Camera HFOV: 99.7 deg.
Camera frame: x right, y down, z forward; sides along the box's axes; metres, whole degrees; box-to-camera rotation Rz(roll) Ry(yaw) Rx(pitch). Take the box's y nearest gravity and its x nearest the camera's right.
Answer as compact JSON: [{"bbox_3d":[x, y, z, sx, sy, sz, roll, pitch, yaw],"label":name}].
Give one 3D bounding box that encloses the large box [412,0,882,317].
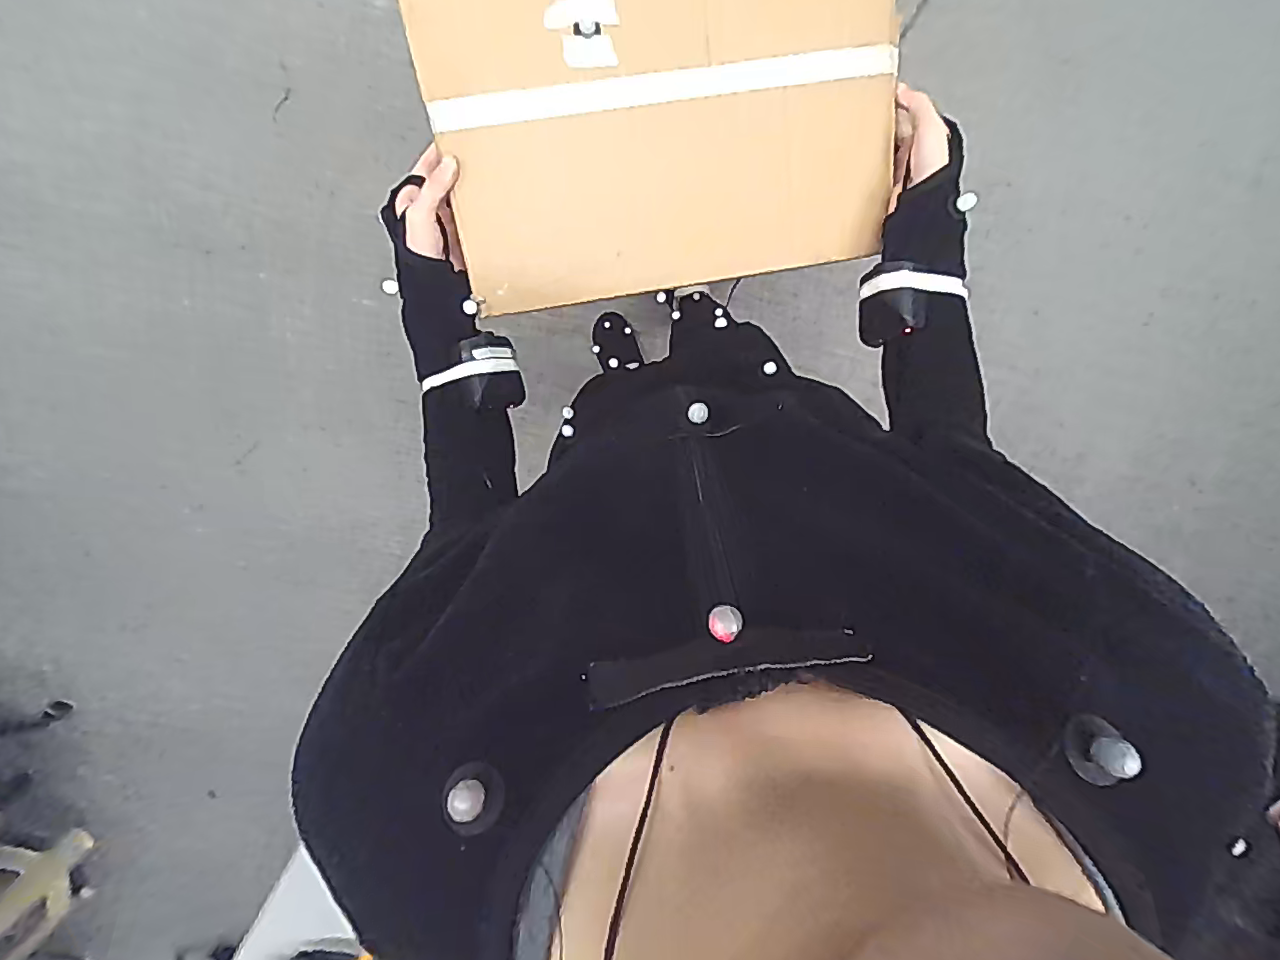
[{"bbox_3d":[0.005,-0.382,0.616,0.408,0.320,0.320,-10,110,-6],"label":"large box"}]
